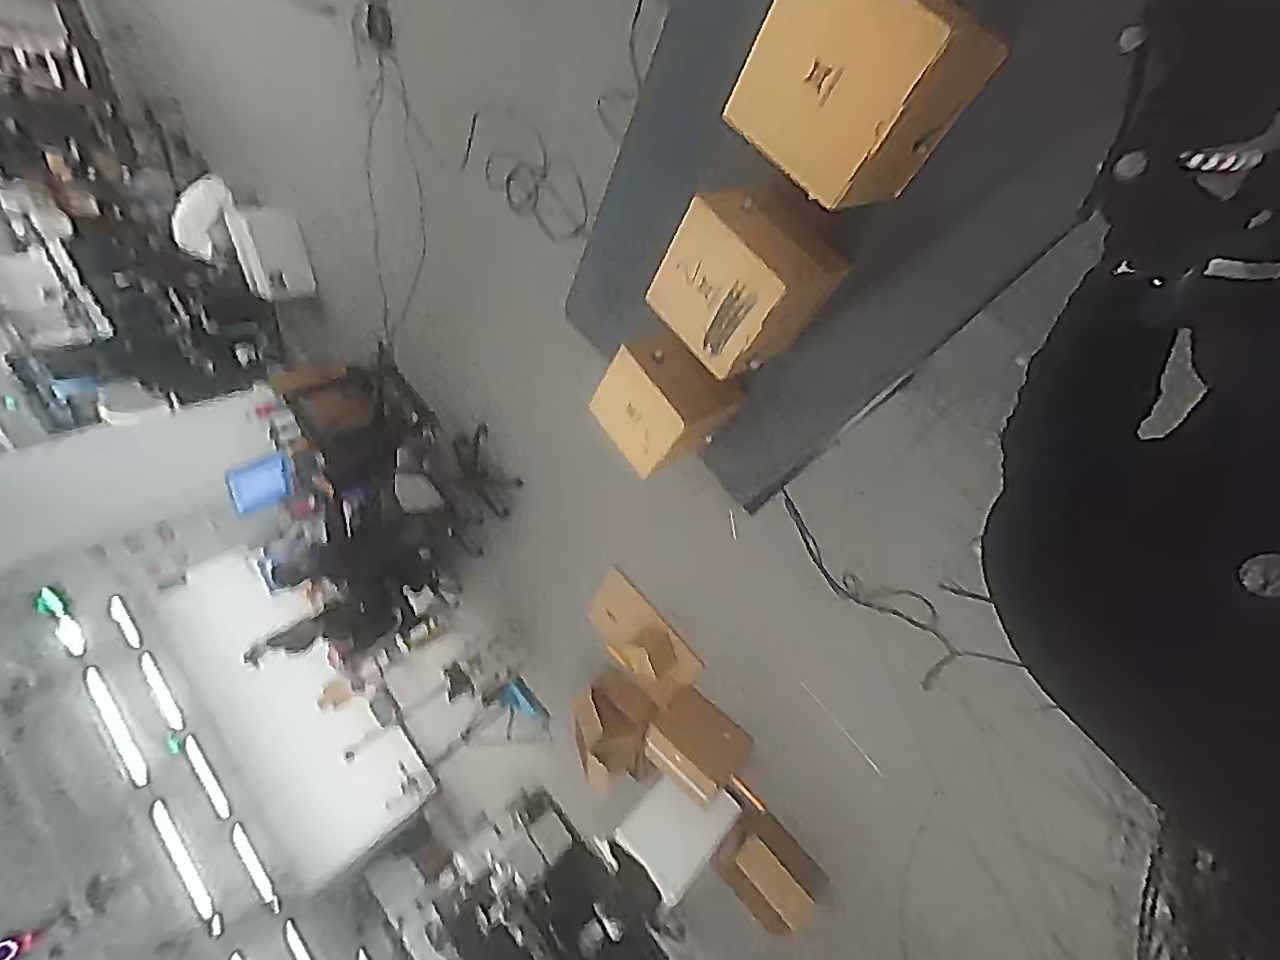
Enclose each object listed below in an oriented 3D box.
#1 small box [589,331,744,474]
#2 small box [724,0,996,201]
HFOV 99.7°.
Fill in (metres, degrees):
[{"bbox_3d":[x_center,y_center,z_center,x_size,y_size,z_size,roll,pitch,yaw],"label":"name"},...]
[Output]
[{"bbox_3d":[0.045,-0.144,0.958,0.179,0.176,0.168,53,141,11],"label":"small box"},{"bbox_3d":[0.232,-0.429,0.580,0.179,0.176,0.168,49,140,13],"label":"small box"}]
